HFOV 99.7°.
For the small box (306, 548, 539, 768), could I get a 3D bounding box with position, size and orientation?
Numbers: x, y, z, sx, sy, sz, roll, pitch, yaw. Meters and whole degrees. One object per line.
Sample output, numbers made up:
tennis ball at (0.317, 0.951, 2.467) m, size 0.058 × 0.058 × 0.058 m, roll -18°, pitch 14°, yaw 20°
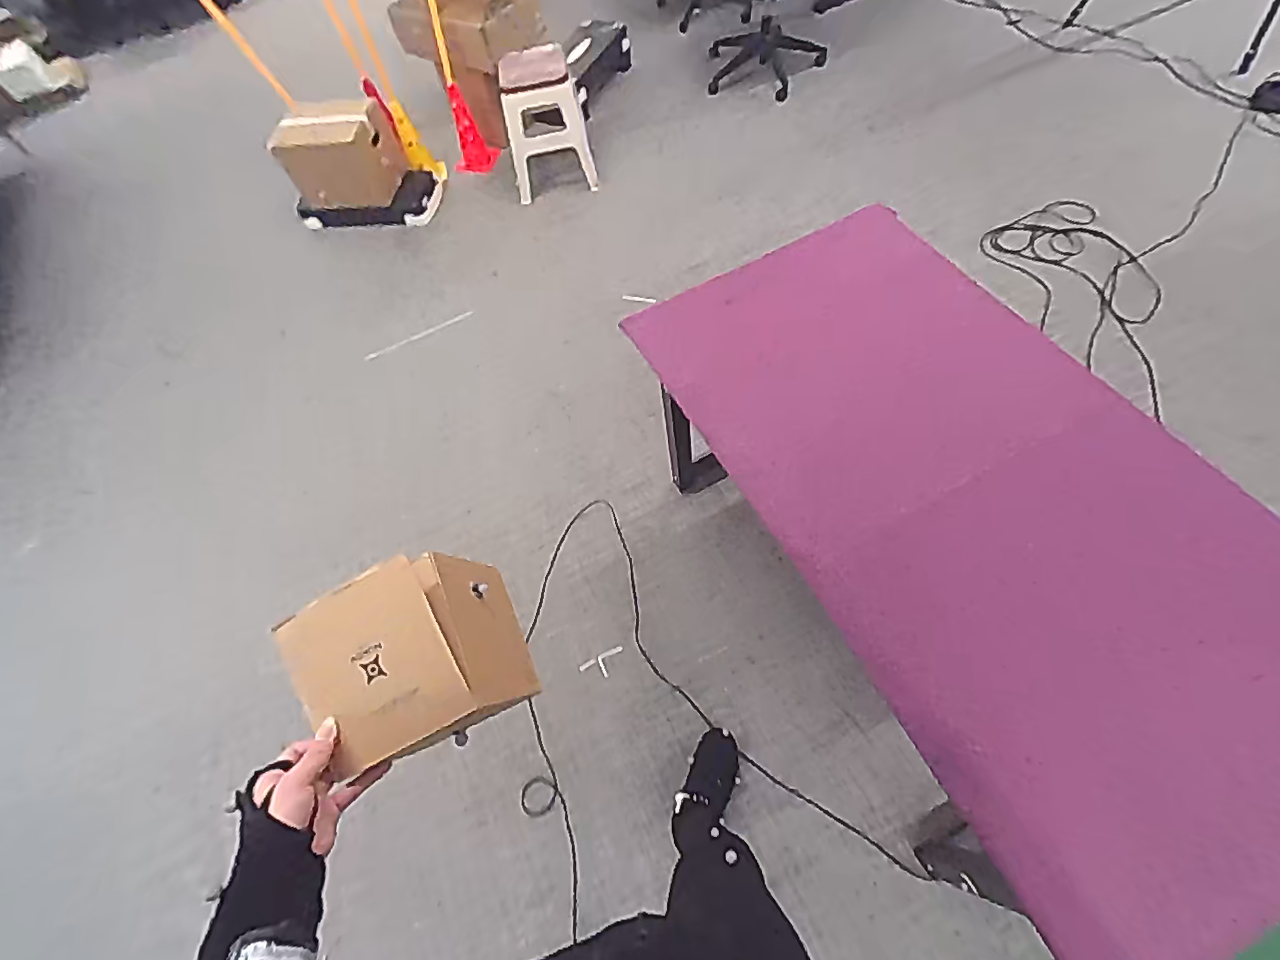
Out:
small box at (-0.244, 0.202, 0.636) m, size 0.168 × 0.176 × 0.179 m, roll -27°, pitch 71°, yaw 5°
